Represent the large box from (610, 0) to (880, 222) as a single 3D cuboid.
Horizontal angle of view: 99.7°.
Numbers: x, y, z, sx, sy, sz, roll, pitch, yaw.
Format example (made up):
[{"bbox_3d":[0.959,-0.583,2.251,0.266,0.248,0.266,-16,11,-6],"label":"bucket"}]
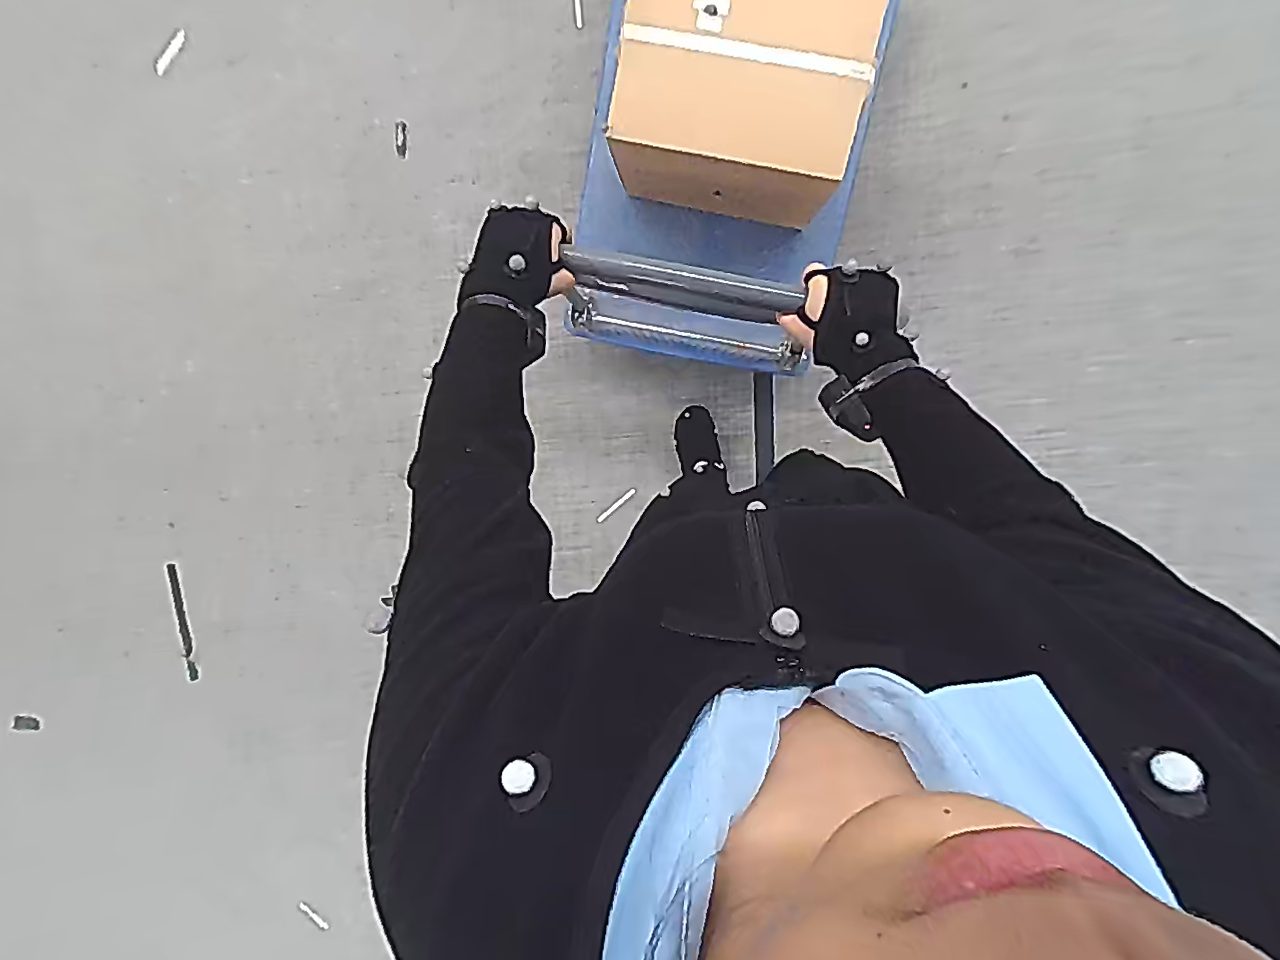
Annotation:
[{"bbox_3d":[0.185,-0.722,1.035,0.408,0.320,0.320,12,101,4],"label":"large box"}]
